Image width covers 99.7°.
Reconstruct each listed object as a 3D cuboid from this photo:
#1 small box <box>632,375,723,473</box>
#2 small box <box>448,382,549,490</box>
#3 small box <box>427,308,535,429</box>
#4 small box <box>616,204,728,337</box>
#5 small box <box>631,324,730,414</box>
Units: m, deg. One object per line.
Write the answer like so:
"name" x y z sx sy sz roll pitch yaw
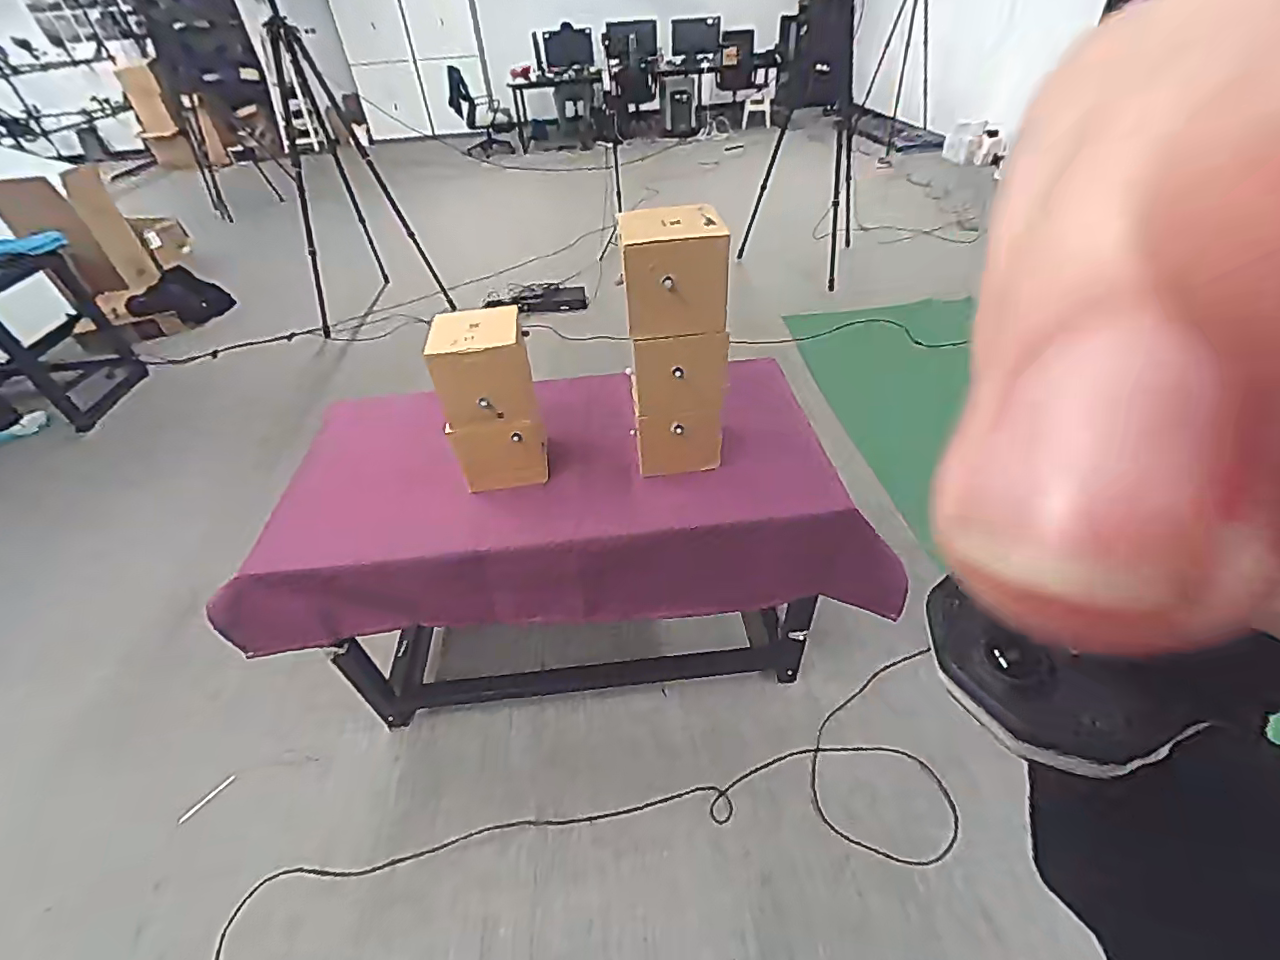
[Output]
"small box" 0.081 -0.129 1.185 0.179 0.176 0.168 -5 43 -1
"small box" -0.302 -0.094 1.187 0.179 0.176 0.168 -8 42 -5
"small box" -0.308 -0.224 1.085 0.168 0.176 0.179 -9 42 -4
"small box" 0.056 -0.369 0.962 0.179 0.176 0.168 -7 43 0
"small box" 0.074 -0.249 1.073 0.179 0.176 0.168 -6 43 0
